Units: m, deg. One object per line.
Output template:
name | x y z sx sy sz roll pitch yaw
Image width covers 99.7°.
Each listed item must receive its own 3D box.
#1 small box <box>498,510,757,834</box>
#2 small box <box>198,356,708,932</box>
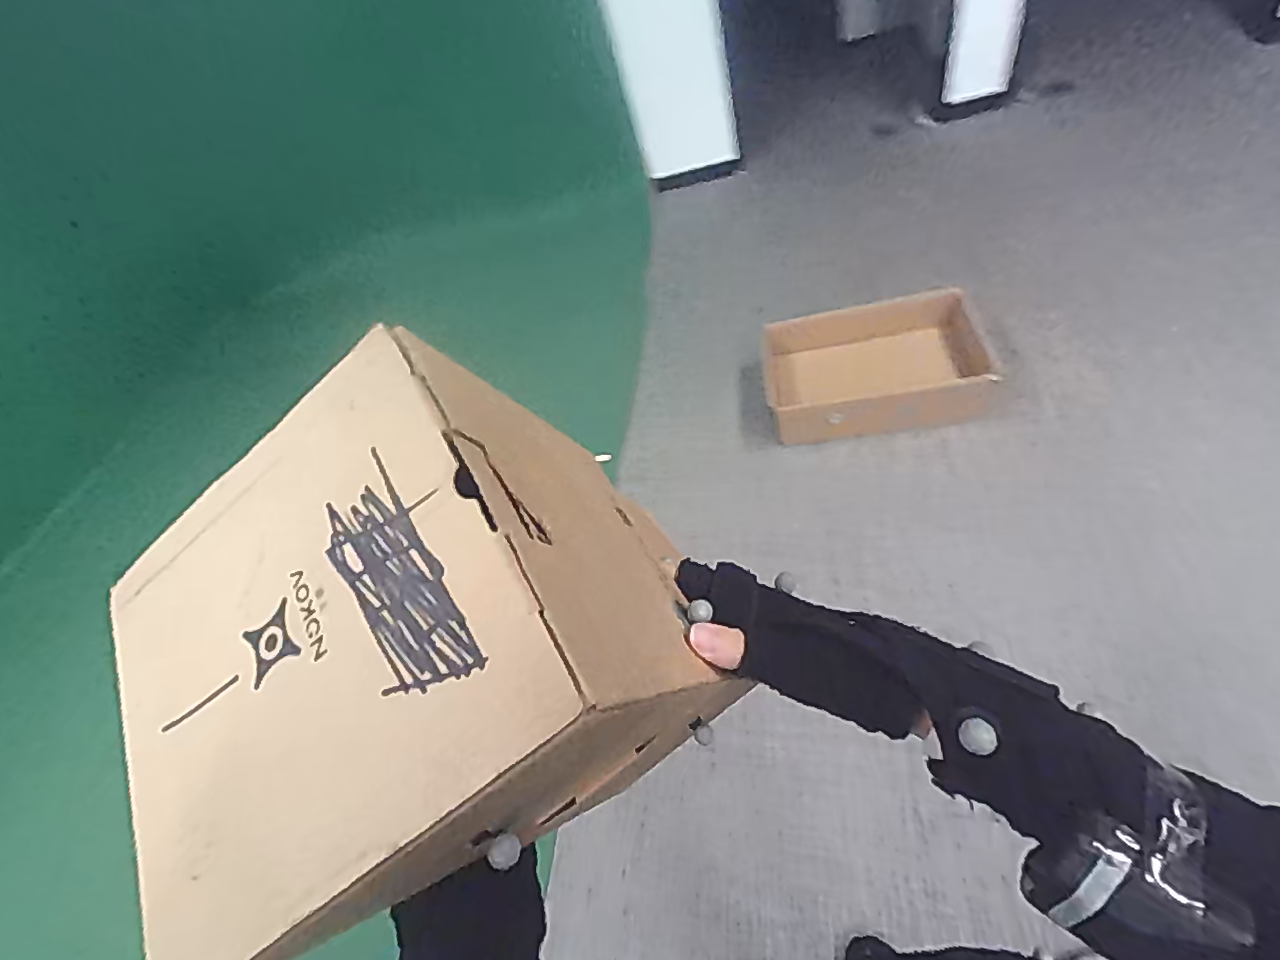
small box | -0.033 0.123 0.421 0.168 0.176 0.179 -41 61 7
small box | -0.081 0.076 0.289 0.179 0.176 0.168 -38 62 10
